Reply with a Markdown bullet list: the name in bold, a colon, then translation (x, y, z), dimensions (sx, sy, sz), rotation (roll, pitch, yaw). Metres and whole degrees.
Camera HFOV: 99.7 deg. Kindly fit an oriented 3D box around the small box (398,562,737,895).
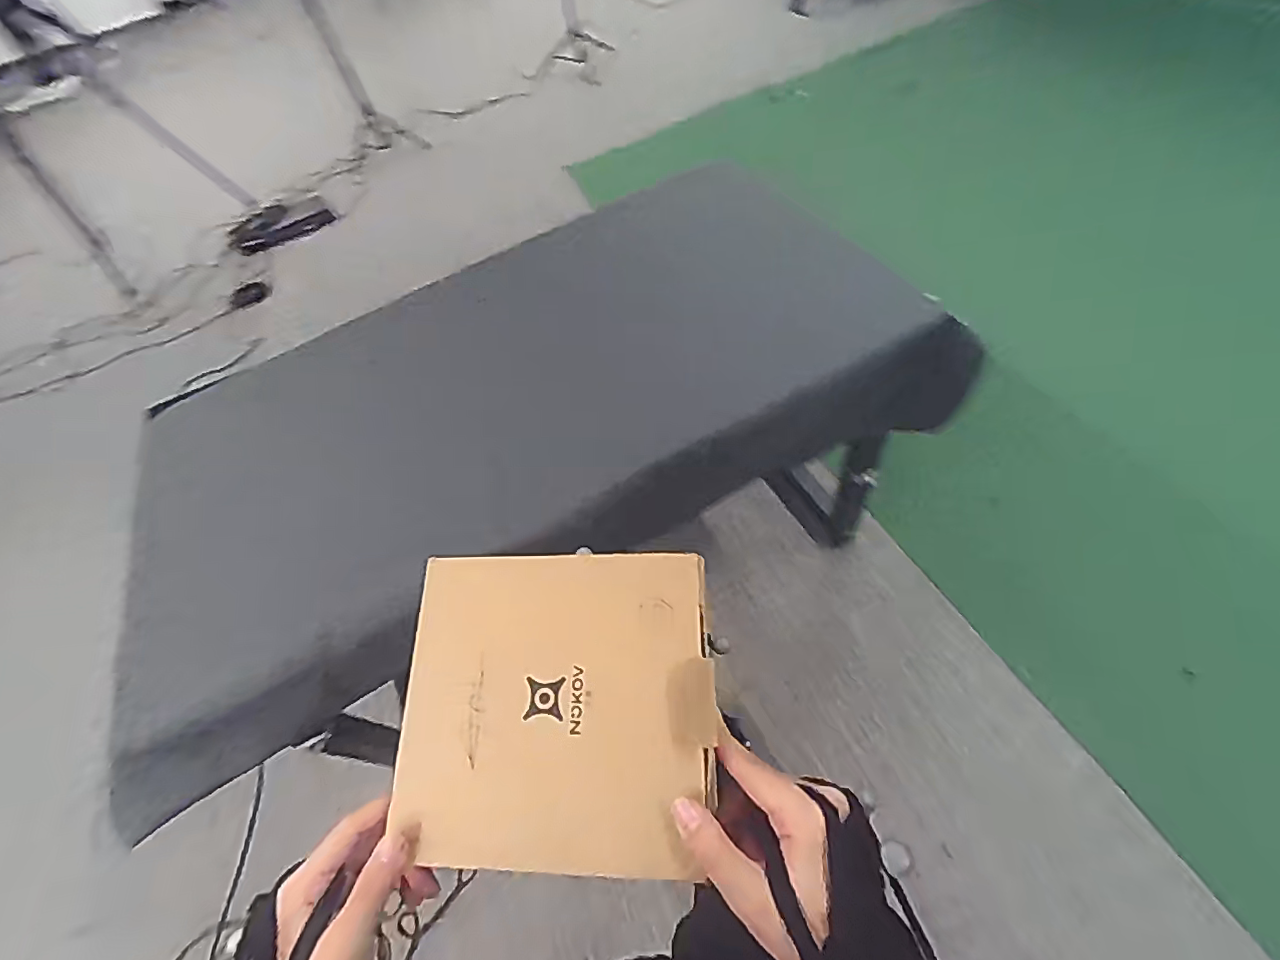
- **small box**: translation (-0.027, 0.157, 0.372), dimensions (0.179, 0.176, 0.168), rotation (-3, 66, 9)
